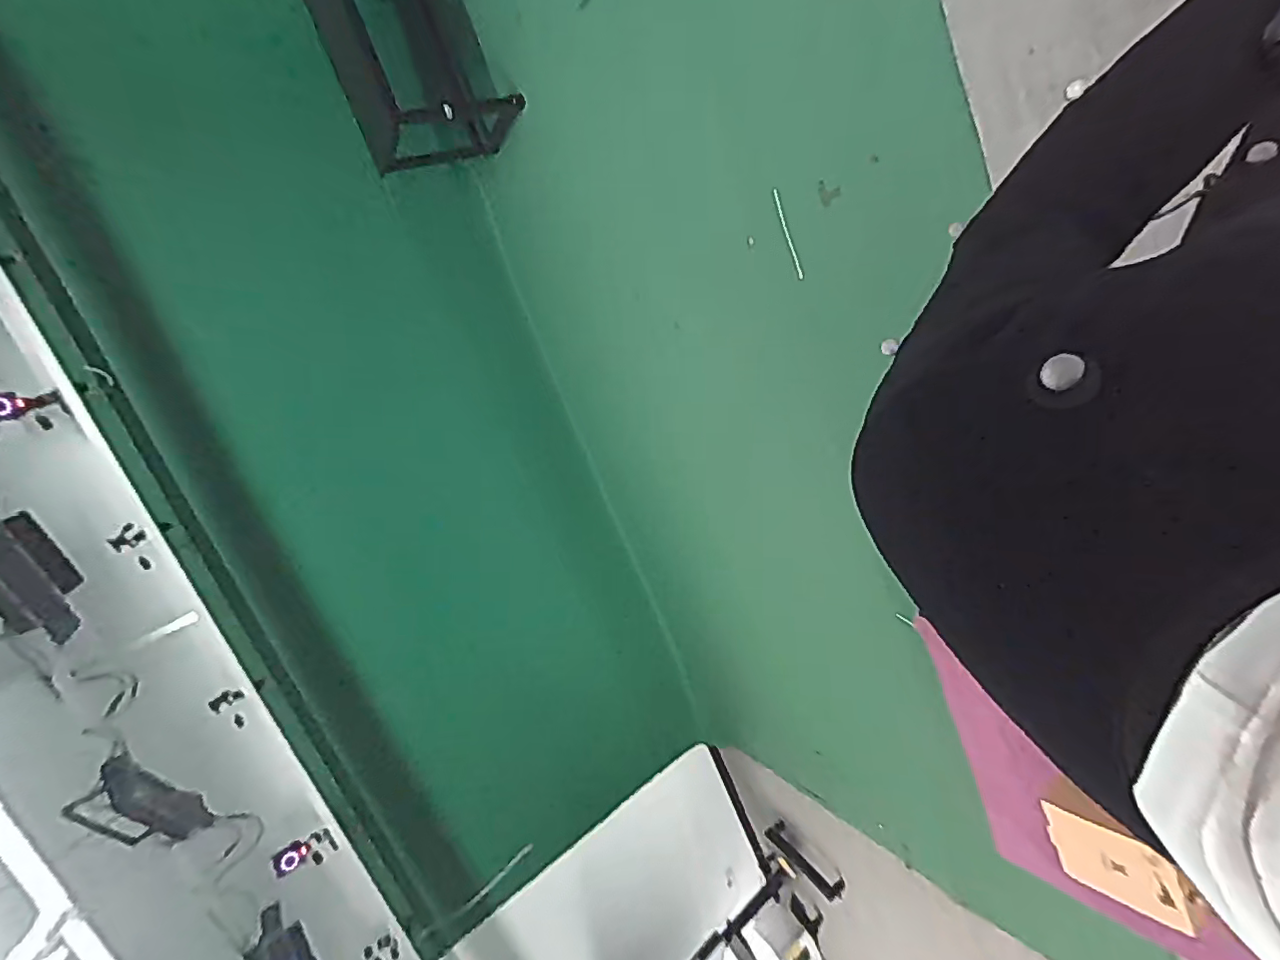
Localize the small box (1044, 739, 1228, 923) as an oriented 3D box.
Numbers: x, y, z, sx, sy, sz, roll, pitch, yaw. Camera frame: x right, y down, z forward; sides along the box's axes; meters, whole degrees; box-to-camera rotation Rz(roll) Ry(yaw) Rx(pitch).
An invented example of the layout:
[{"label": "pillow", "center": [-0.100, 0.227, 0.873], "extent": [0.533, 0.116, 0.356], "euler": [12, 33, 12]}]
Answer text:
[{"label": "small box", "center": [0.854, 0.586, 0.935], "extent": [0.179, 0.176, 0.168], "euler": [-4, 111, 63]}]
